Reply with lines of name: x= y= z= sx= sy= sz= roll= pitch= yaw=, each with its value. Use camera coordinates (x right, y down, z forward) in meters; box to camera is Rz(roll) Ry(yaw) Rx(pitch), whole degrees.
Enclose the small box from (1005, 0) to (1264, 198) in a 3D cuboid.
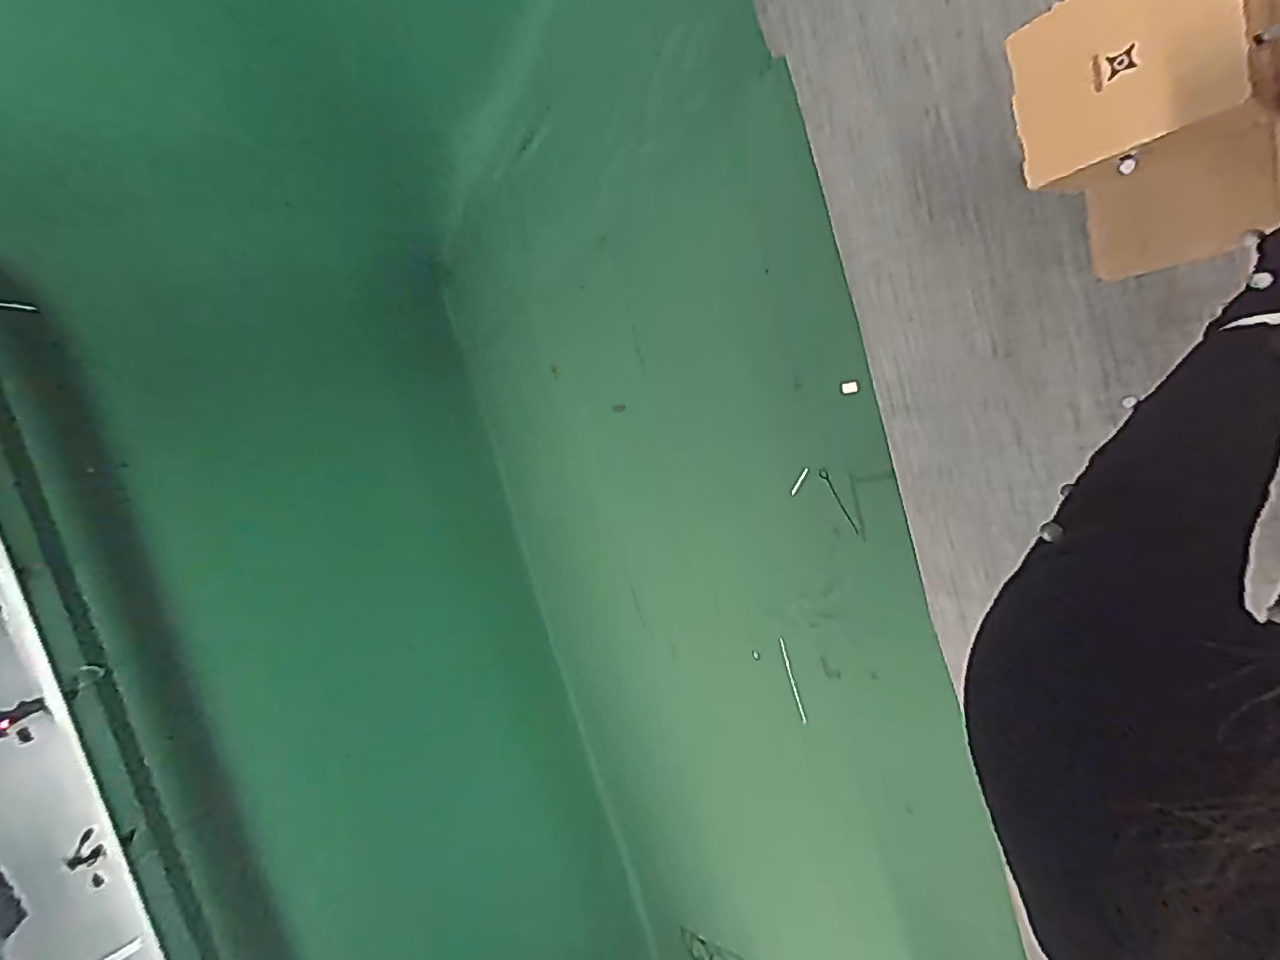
small box: x=0.540 y=-0.430 z=0.591 sx=0.179 sy=0.176 sz=0.168 roll=-3 pitch=102 yaw=56
